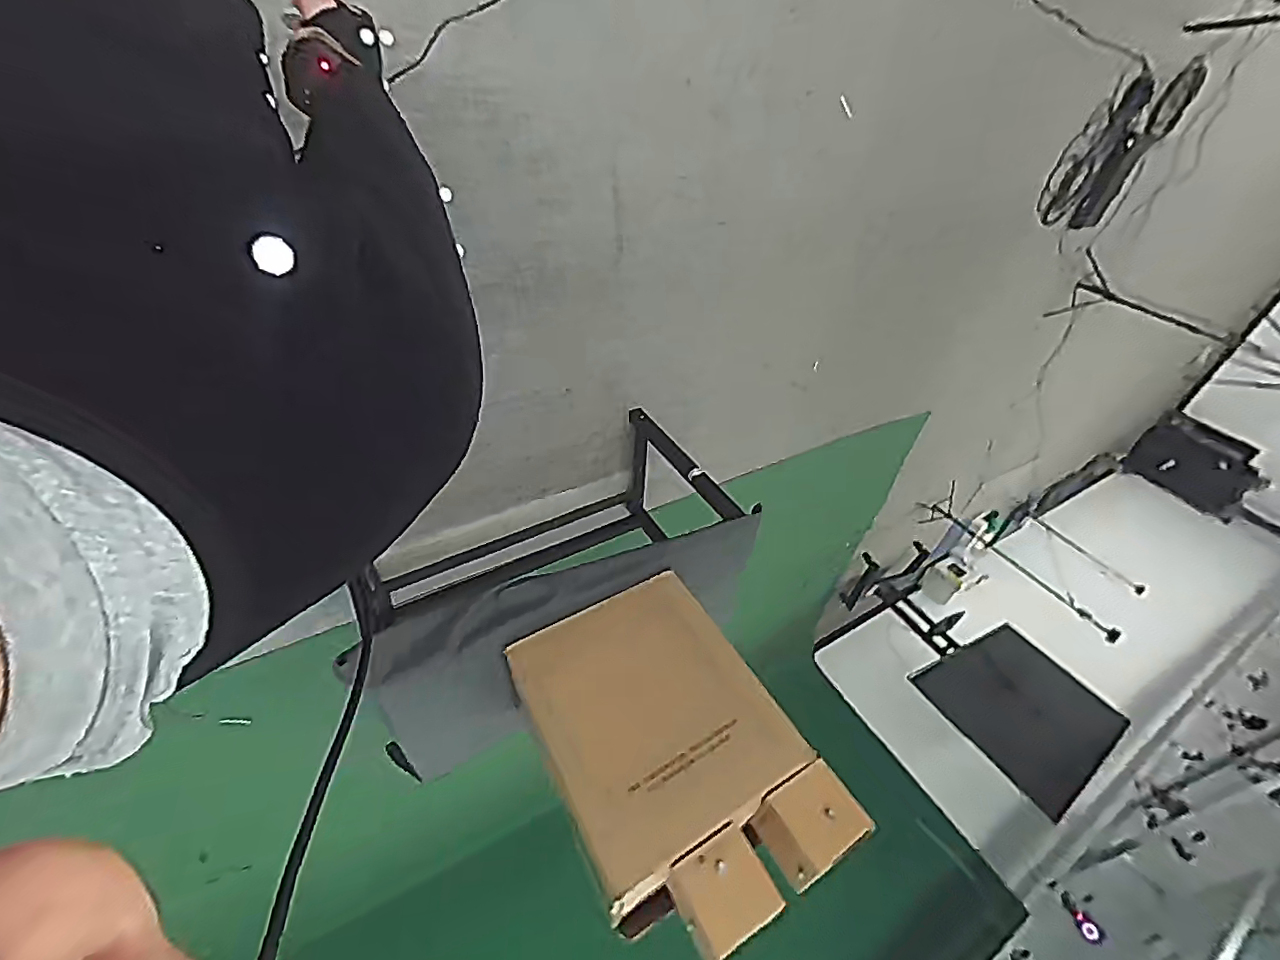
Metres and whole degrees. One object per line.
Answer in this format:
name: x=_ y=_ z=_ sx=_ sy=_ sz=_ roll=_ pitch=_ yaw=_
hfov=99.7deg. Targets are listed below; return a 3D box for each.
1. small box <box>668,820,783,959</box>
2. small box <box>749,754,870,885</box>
small box: x=0.173 y=0.867 z=1.152 sx=0.168 sy=0.176 sz=0.179 roll=-22 pitch=137 yaw=-24
small box: x=0.384 y=0.776 z=1.249 sx=0.179 sy=0.176 sz=0.168 roll=-20 pitch=137 yaw=-28
